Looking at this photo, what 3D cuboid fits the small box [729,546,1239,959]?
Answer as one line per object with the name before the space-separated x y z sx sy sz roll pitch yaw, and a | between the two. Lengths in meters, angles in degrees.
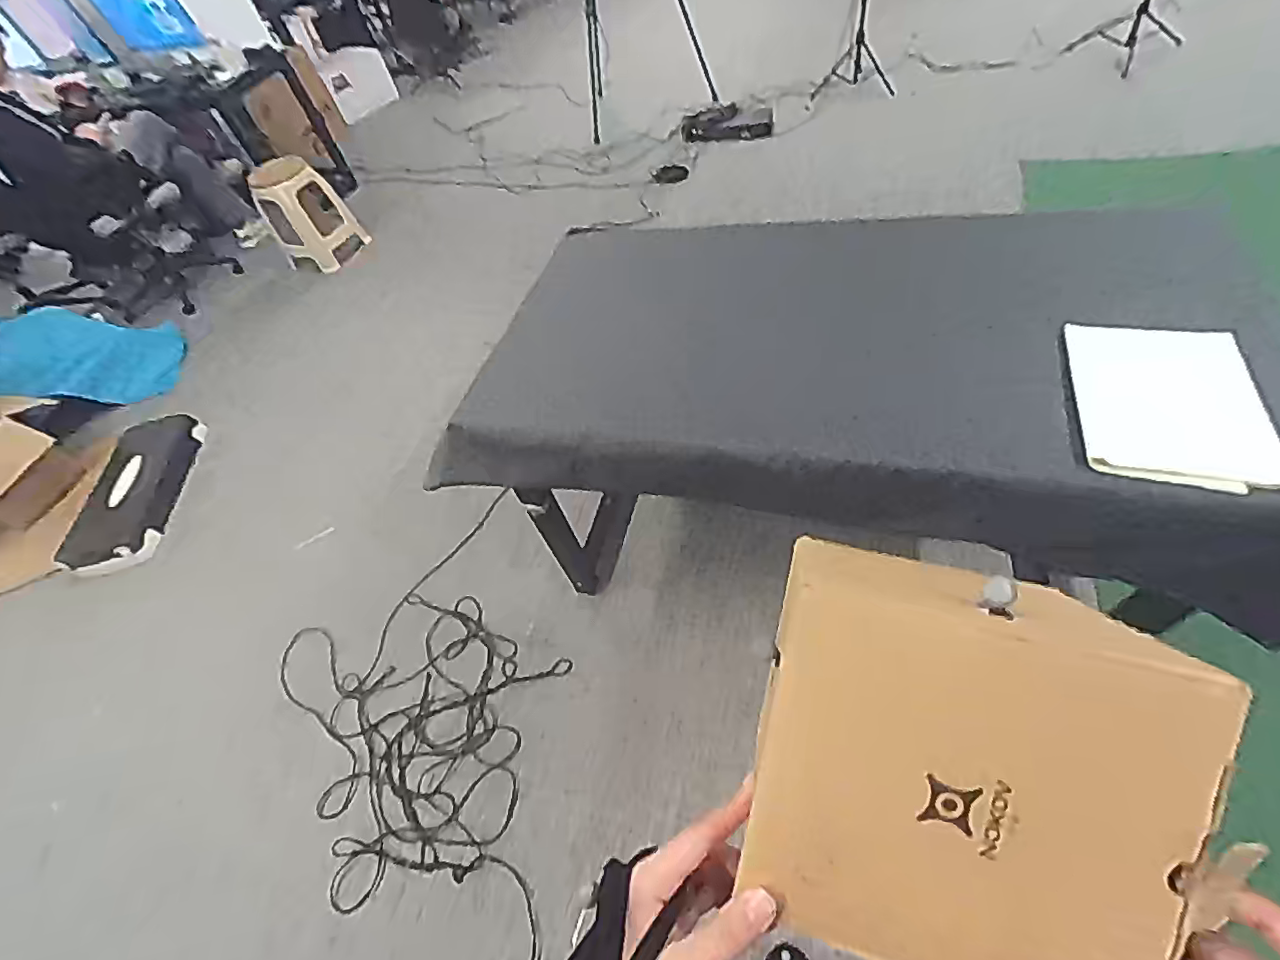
small box | 0.161 0.140 0.316 0.179 0.176 0.168 11 94 15
